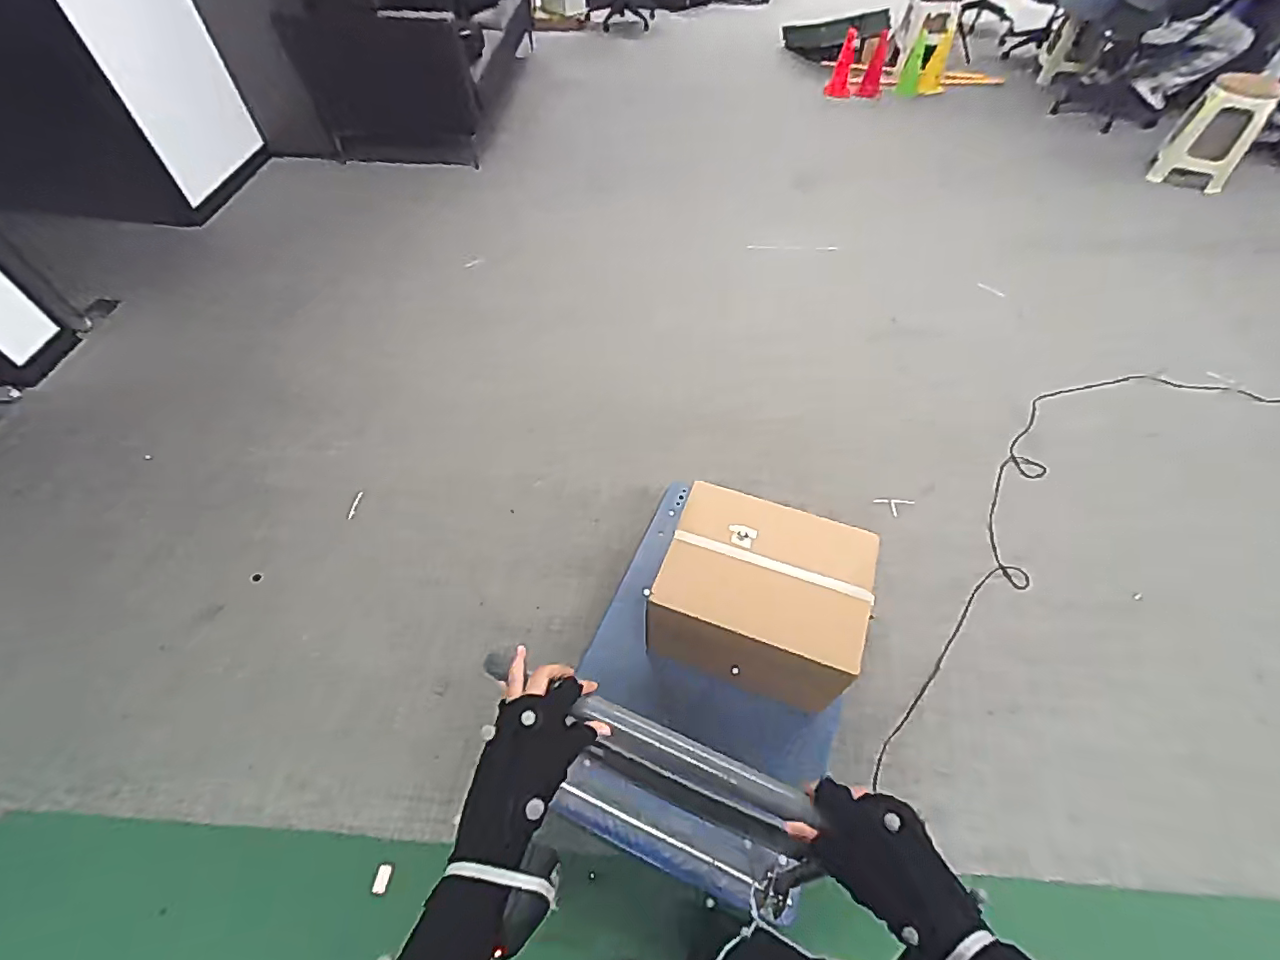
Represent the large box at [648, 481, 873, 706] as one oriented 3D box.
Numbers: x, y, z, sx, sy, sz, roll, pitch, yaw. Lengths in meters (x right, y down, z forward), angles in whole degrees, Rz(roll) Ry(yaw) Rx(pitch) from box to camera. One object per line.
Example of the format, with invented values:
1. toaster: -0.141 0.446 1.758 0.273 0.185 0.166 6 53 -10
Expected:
1. large box: 0.258 0.257 1.211 0.408 0.320 0.320 16 55 13
